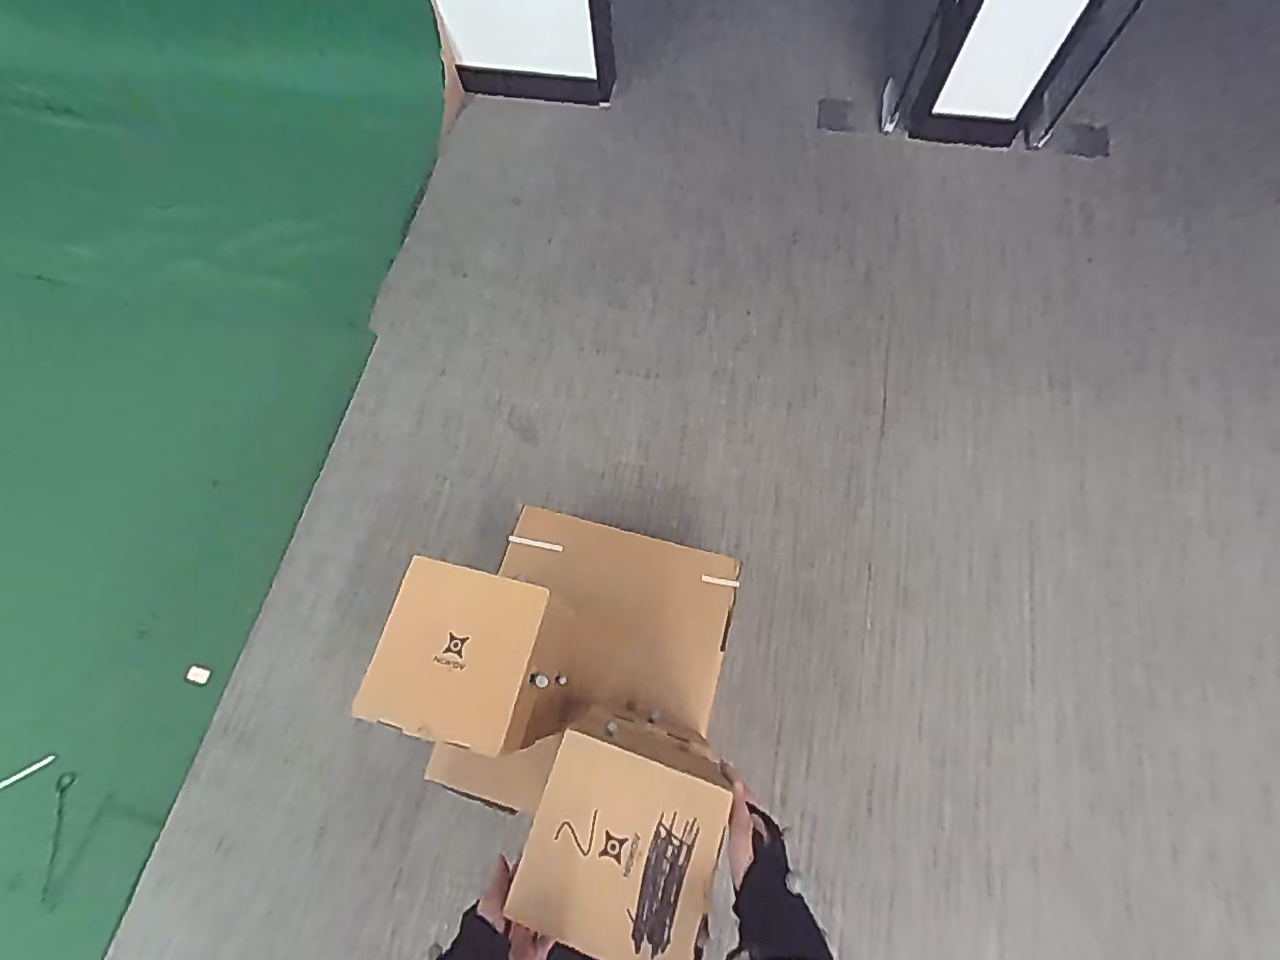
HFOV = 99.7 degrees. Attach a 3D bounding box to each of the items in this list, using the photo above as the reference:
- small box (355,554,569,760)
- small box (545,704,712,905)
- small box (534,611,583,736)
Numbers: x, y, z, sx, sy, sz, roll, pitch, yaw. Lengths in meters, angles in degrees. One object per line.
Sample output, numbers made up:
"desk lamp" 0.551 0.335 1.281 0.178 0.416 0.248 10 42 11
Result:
"small box" -0.193 0.208 0.649 0.168 0.176 0.179 14 72 8
"small box" -0.010 0.419 0.733 0.168 0.176 0.179 16 69 8
"small box" -0.191 0.269 0.801 0.168 0.176 0.179 14 69 8
